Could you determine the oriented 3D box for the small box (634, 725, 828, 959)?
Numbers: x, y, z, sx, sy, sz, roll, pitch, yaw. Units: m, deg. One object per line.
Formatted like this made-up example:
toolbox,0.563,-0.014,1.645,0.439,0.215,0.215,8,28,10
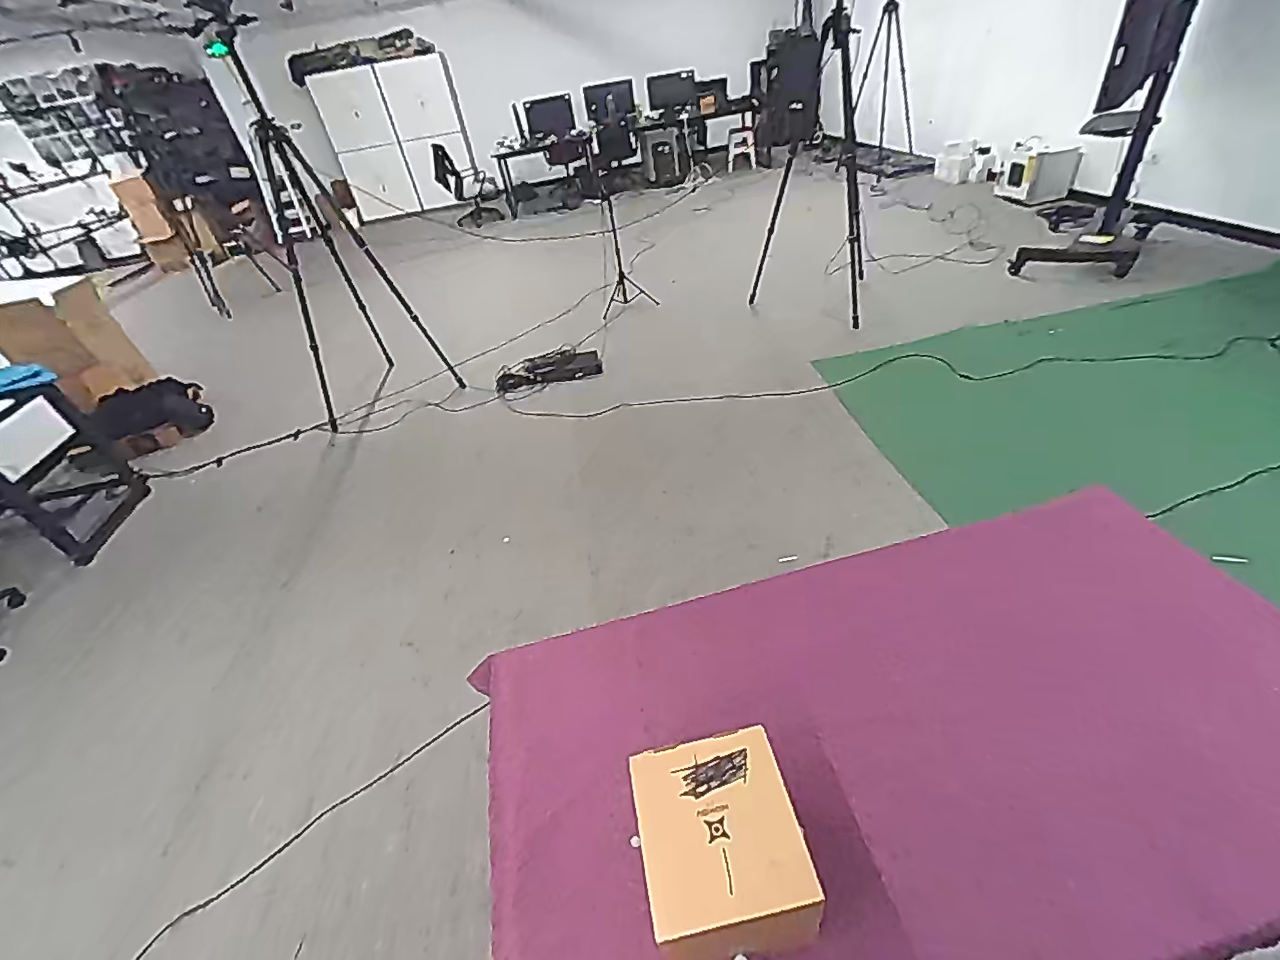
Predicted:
small box,0.095,0.420,0.621,0.168,0.176,0.179,-13,39,-2
